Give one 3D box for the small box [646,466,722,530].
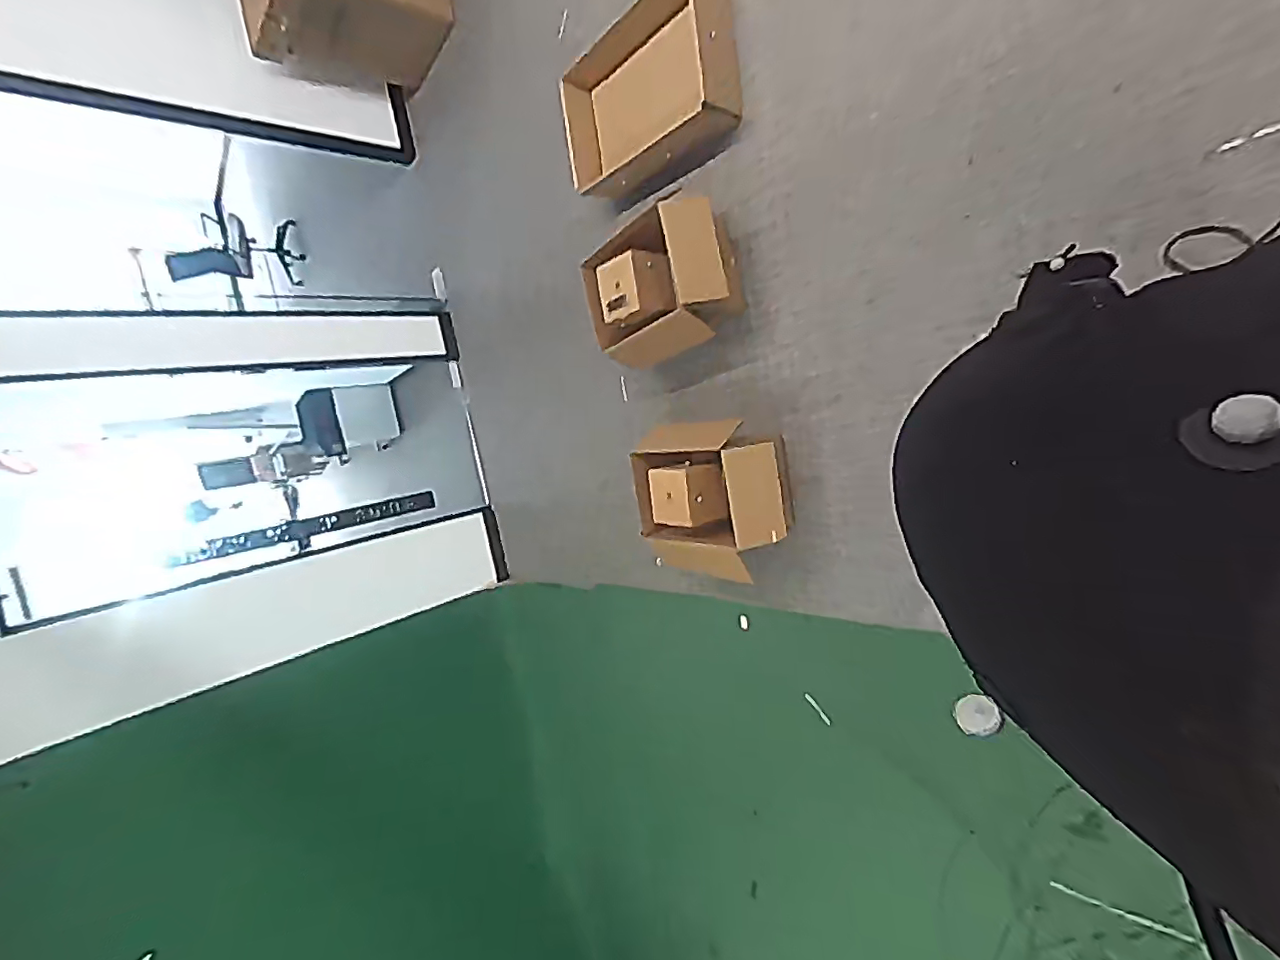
[{"bbox_3d":[0.142,0.051,1.715,0.168,0.176,0.179,1,101,48],"label":"small box"}]
